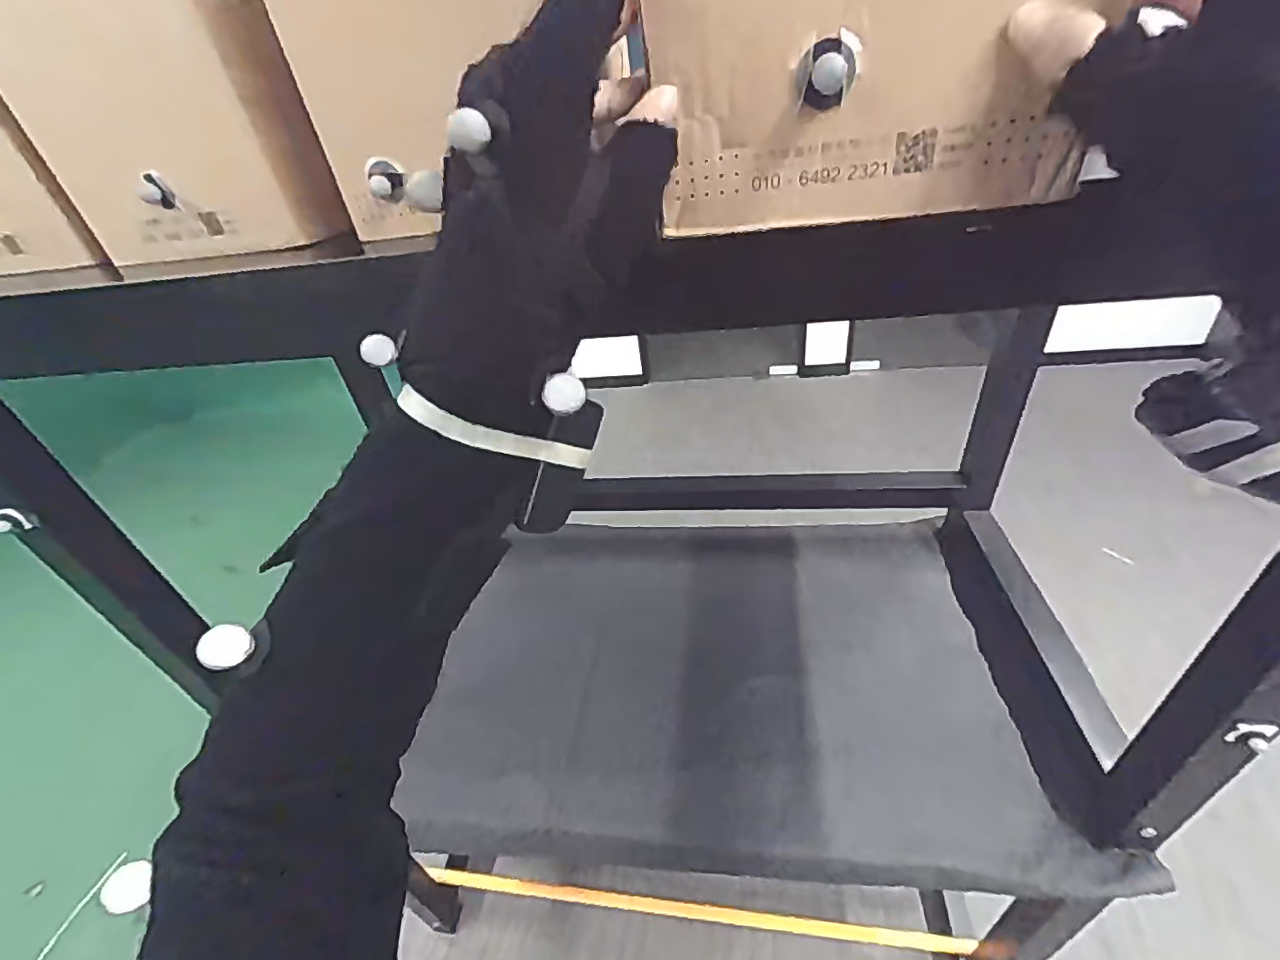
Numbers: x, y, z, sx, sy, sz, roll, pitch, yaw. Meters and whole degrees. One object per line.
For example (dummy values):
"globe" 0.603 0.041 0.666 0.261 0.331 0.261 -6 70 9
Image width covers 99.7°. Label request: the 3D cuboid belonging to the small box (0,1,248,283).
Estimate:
"small box" -0.487 -0.270 0.451 0.168 0.176 0.179 0 36 10
